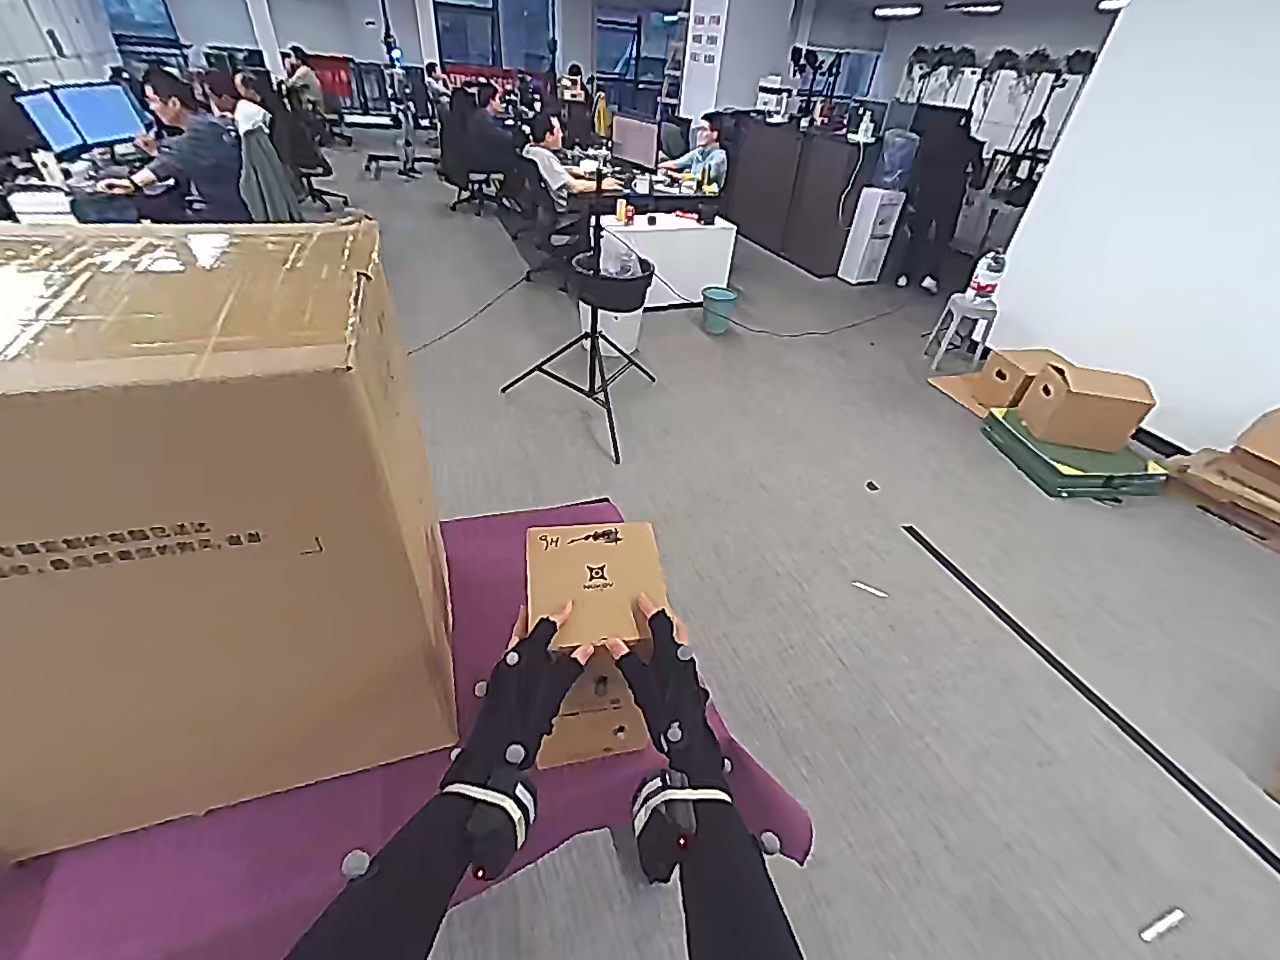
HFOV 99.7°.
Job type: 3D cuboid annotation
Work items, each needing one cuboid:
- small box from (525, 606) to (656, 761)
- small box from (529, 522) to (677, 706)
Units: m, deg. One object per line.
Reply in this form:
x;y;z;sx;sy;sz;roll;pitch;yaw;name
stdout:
-0.080;0.298;0.811;0.168;0.176;0.179;-5;42;-14;small box
-0.056;0.178;0.704;0.168;0.176;0.179;-3;45;-11;small box
